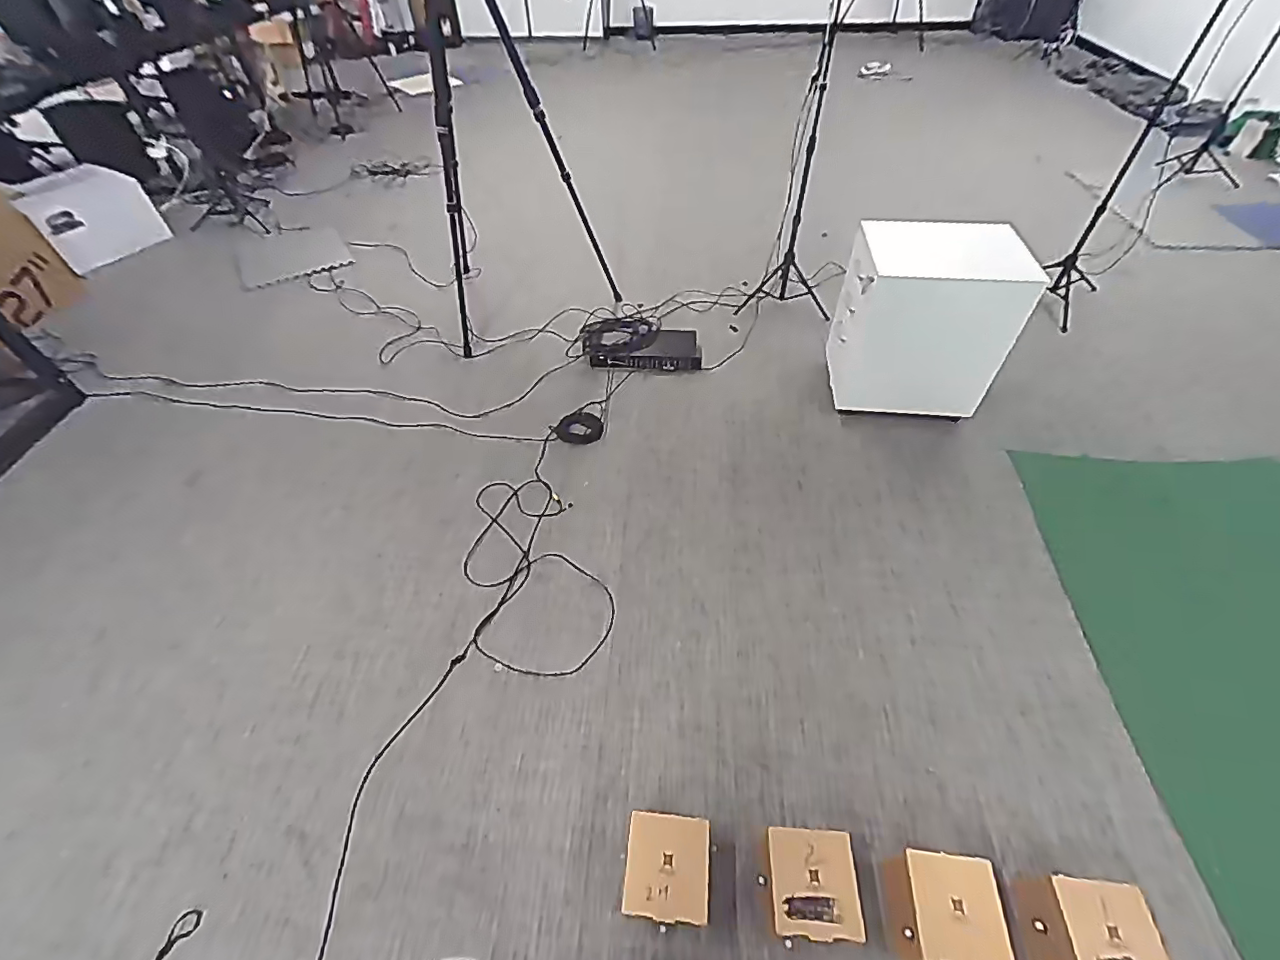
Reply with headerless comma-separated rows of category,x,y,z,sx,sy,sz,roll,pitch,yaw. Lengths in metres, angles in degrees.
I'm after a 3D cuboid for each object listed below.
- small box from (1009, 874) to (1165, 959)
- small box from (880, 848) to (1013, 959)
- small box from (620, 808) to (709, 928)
small box,0.864,0.891,1.050,0.168,0.176,0.179,4,49,5
small box,0.598,0.862,1.081,0.168,0.176,0.179,5,50,5
small box,0.054,0.814,1.132,0.168,0.176,0.179,4,49,6
